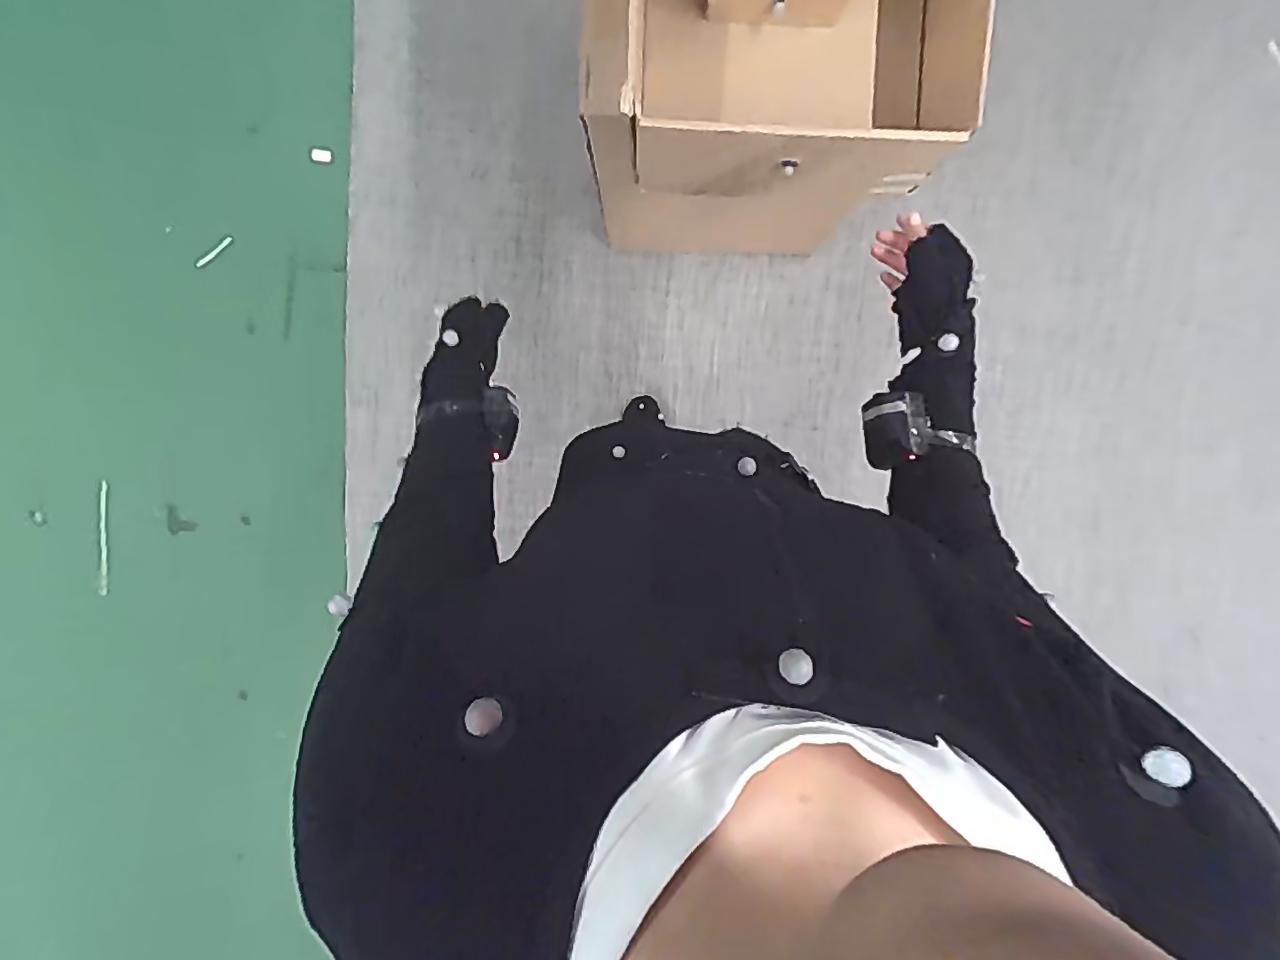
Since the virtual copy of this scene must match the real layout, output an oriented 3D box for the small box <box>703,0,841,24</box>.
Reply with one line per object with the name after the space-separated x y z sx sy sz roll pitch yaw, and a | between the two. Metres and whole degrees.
0.174 -0.670 0.618 0.179 0.176 0.168 2 94 -2 | small box
